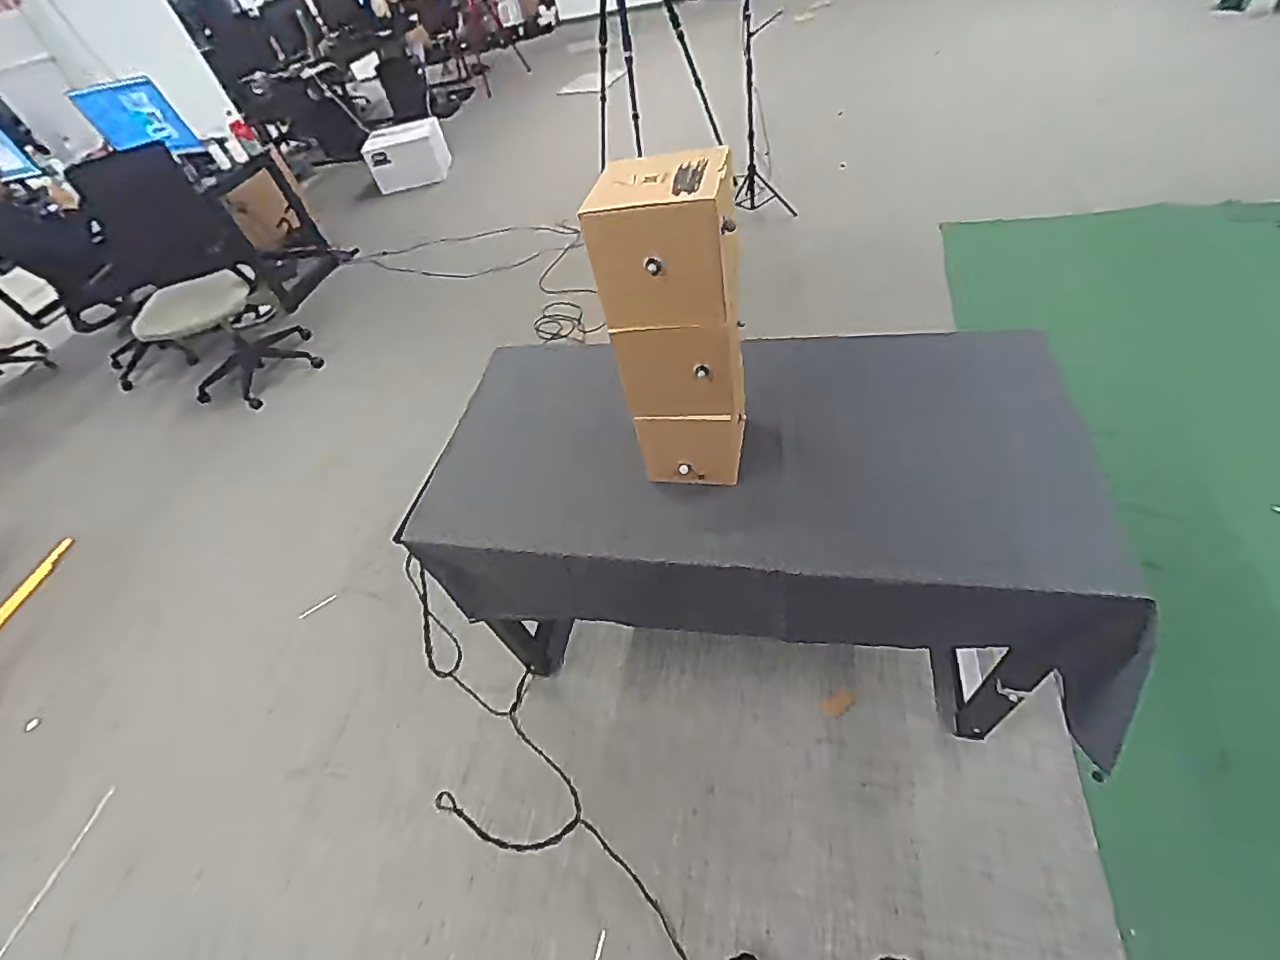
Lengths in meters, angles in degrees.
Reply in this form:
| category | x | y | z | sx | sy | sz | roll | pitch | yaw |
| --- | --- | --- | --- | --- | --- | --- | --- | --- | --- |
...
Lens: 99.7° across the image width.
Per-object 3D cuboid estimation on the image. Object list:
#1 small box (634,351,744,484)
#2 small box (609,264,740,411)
| category | x | y | z | sx | sy | sz | roll | pitch | yaw |
| --- | --- | --- | --- | --- | --- | --- | --- | --- | --- |
| small box | 0.099 | -0.116 | 0.989 | 0.168 | 0.176 | 0.179 | 3 | 51 | 16 |
| small box | 0.067 | -0.224 | 0.871 | 0.179 | 0.176 | 0.168 | 1 | 49 | 15 |
